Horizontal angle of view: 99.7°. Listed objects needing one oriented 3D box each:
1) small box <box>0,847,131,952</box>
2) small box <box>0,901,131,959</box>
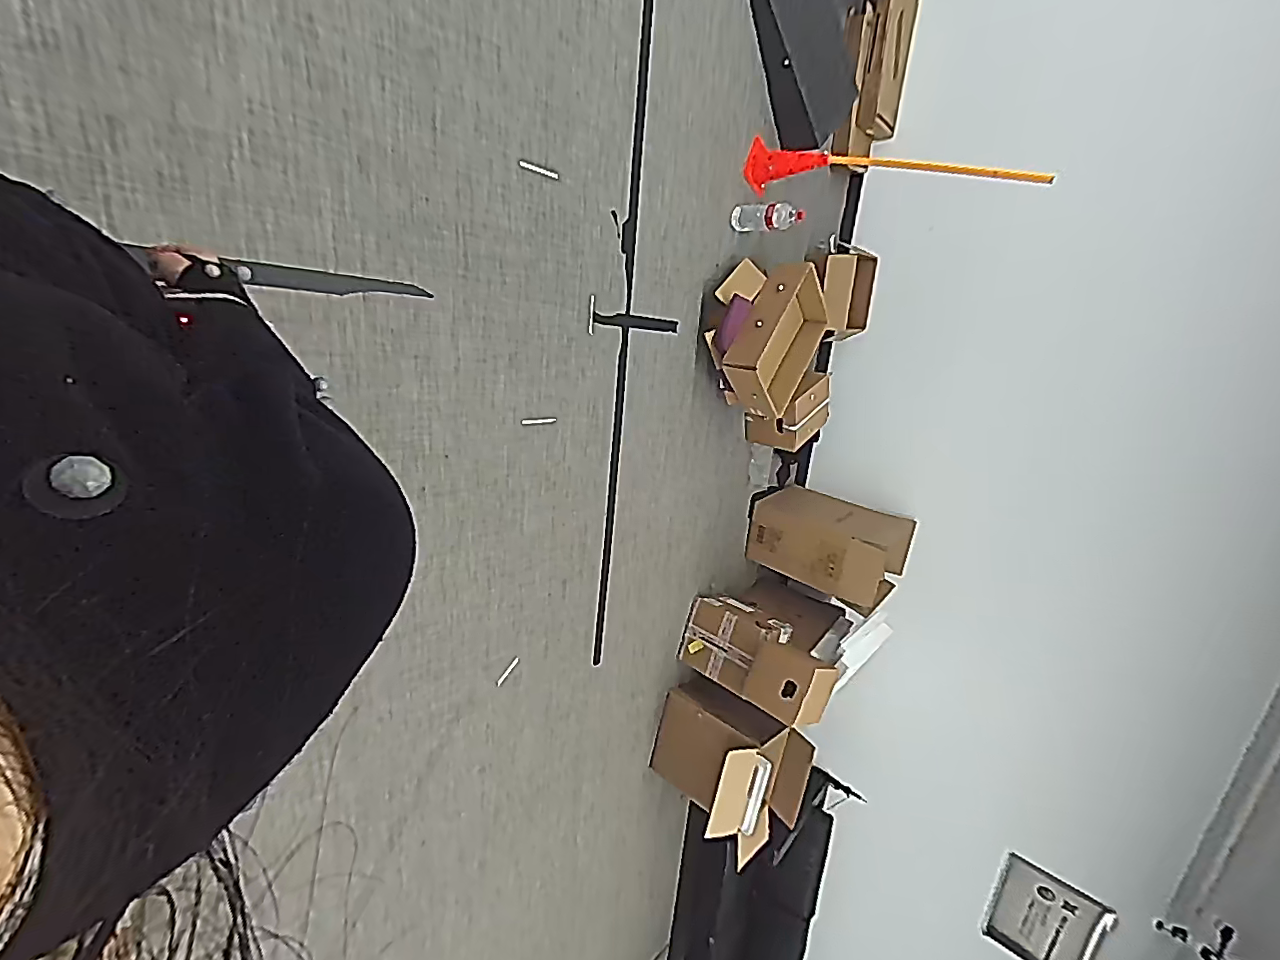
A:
[{"bbox_3d":[-1.253,0.939,1.160,0.168,0.176,0.179,-30,126,-42],"label":"small box"},{"bbox_3d":[-1.132,0.987,1.059,0.168,0.176,0.179,-31,127,-43],"label":"small box"}]
